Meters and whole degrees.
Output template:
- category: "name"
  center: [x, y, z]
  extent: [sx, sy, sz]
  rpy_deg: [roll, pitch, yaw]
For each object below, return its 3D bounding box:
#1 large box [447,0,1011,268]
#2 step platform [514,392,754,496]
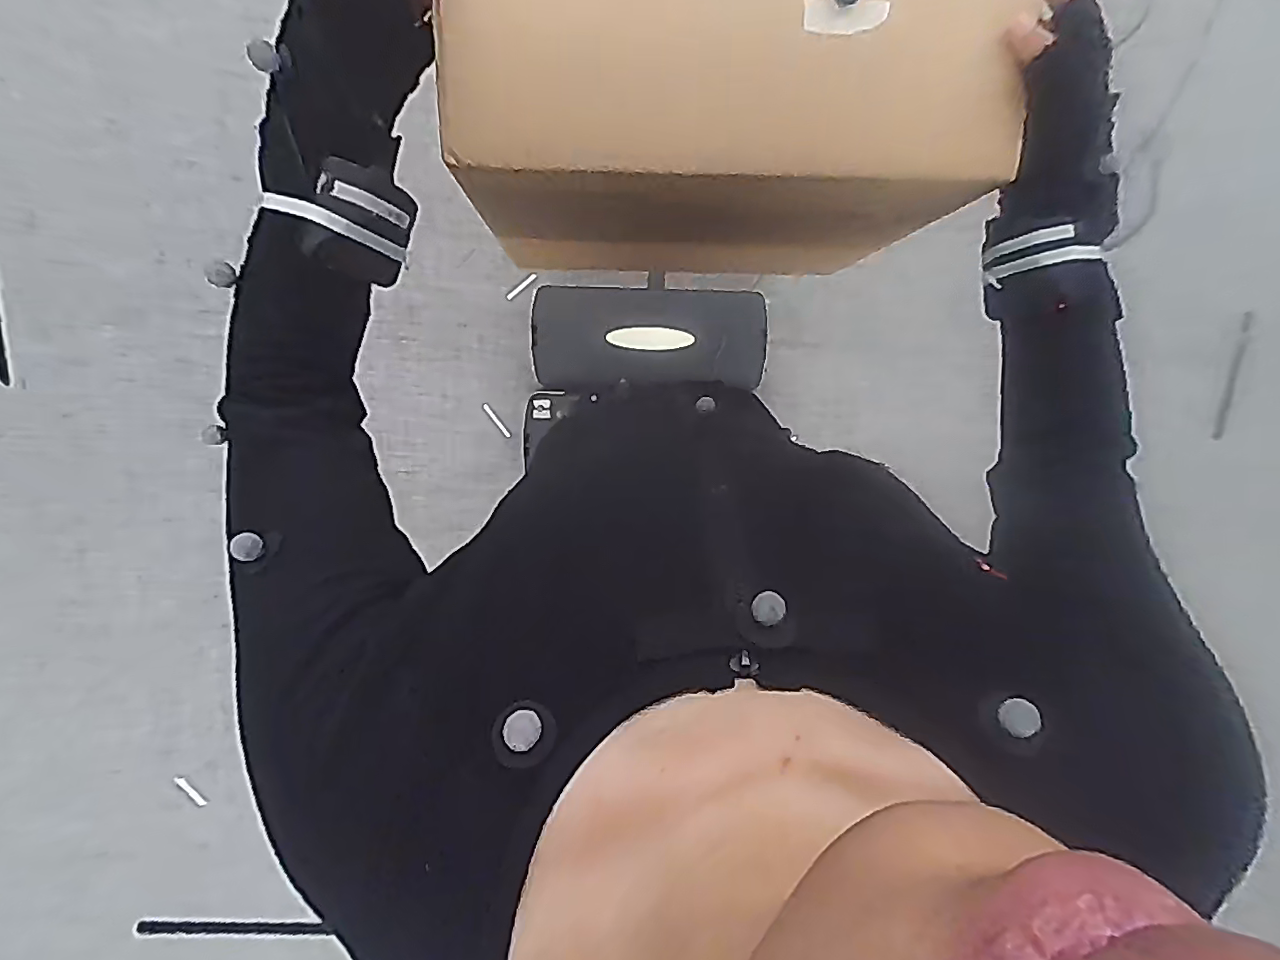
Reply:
- category: "large box"
  center: [0.054, -0.398, 0.512]
  extent: [0.408, 0.320, 0.320]
  rpy_deg: [-1, 100, -5]
- category: "step platform"
  center: [-0.017, -0.106, 1.565]
  extent: [0.684, 0.204, 0.286]
  rpy_deg: [1, 99, -2]
